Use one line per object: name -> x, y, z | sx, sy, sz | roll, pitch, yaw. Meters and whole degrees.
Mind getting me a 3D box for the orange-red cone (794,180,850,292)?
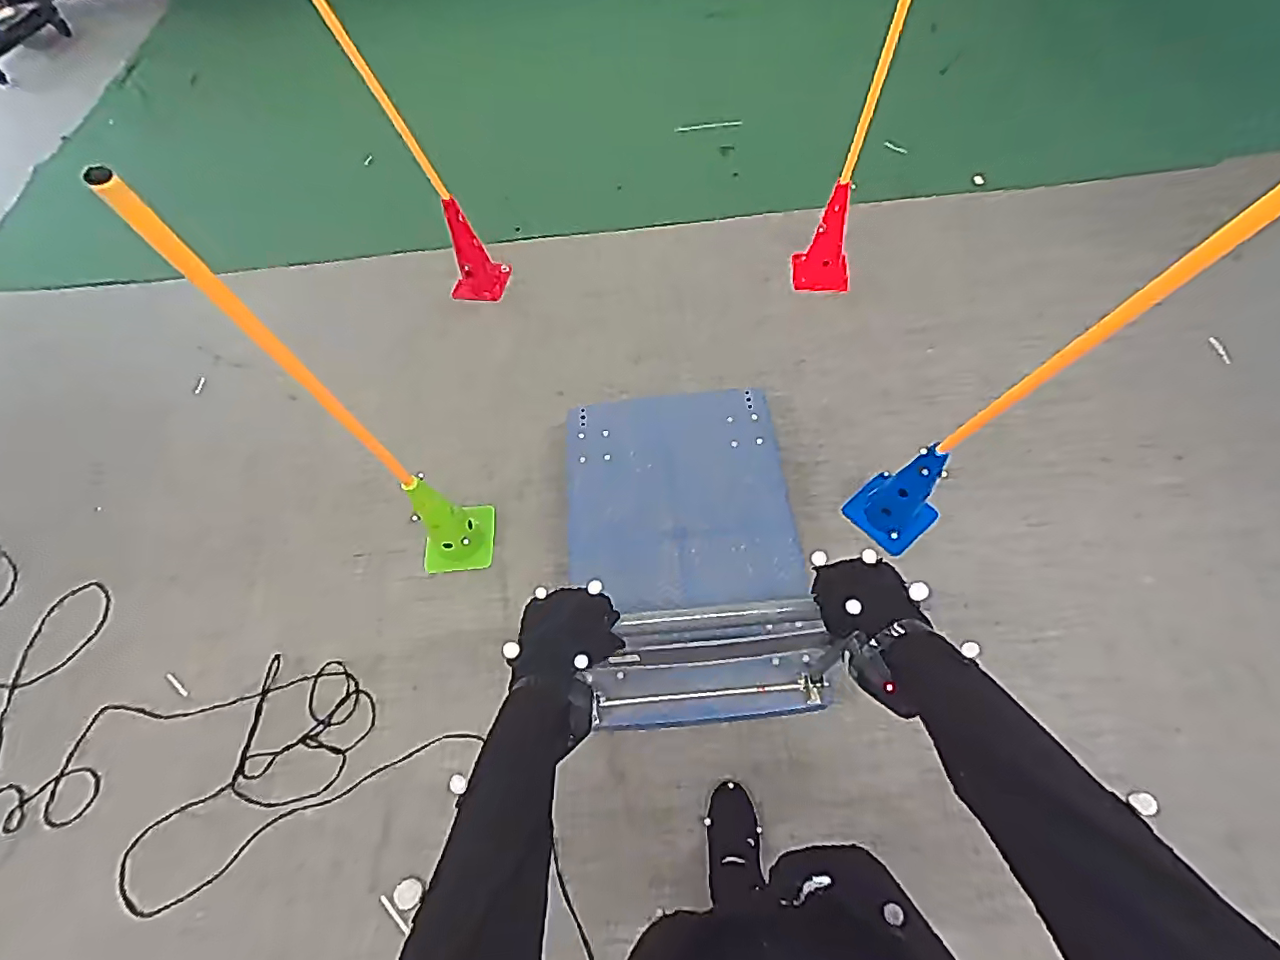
orange-red cone -> 0.657, -0.846, 1.845 | 0.198, 0.360, 0.199 | 5, 63, 8
